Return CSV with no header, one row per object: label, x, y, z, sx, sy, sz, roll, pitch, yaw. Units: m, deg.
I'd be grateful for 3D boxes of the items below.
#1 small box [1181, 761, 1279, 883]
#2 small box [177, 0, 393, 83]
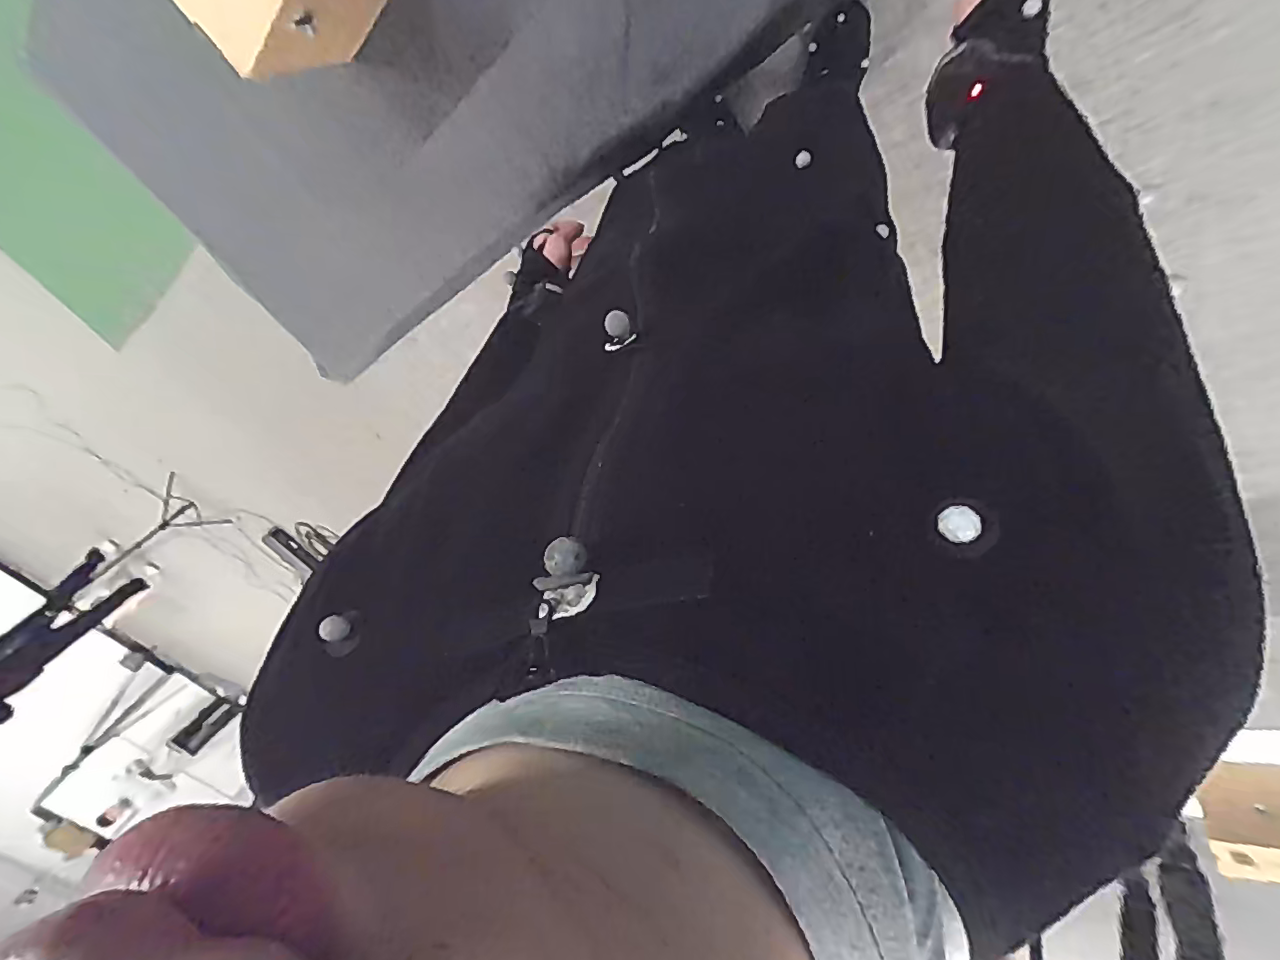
small box,1.279,0.711,1.132,0.179,0.176,0.168,-20,121,37
small box,-0.367,-0.547,0.541,0.179,0.176,0.168,-20,121,37
